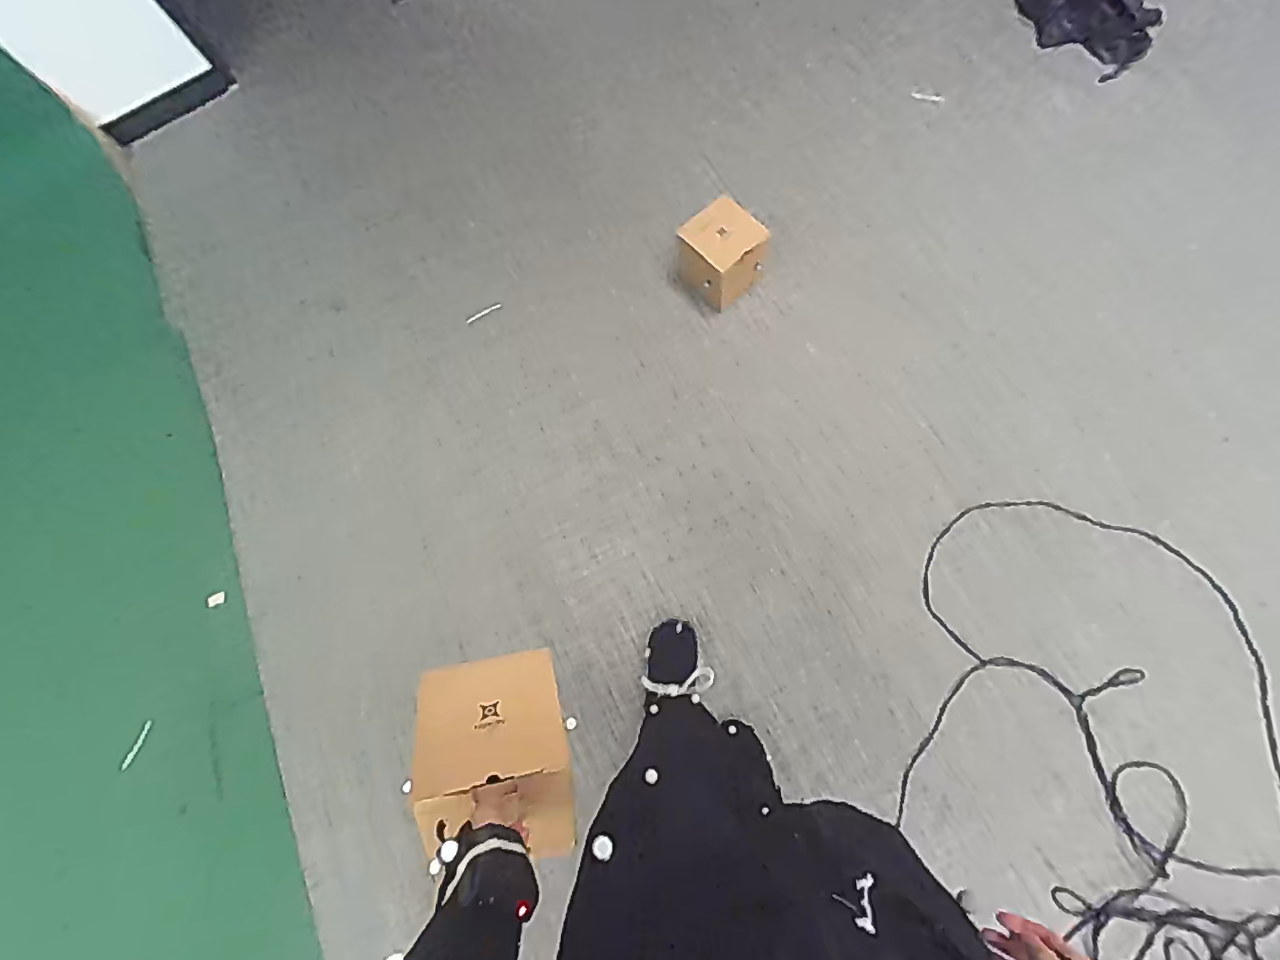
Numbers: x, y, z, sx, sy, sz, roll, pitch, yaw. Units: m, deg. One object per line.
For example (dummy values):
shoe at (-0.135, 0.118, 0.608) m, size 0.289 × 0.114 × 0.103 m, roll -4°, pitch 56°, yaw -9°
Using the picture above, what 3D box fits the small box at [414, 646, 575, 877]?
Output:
small box at (-0.175, 0.341, 0.672) m, size 0.168 × 0.176 × 0.179 m, roll -6°, pitch 30°, yaw -14°

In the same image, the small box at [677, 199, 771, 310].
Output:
small box at (0.216, -0.573, 1.402) m, size 0.168 × 0.176 × 0.179 m, roll -40°, pitch 71°, yaw -6°
